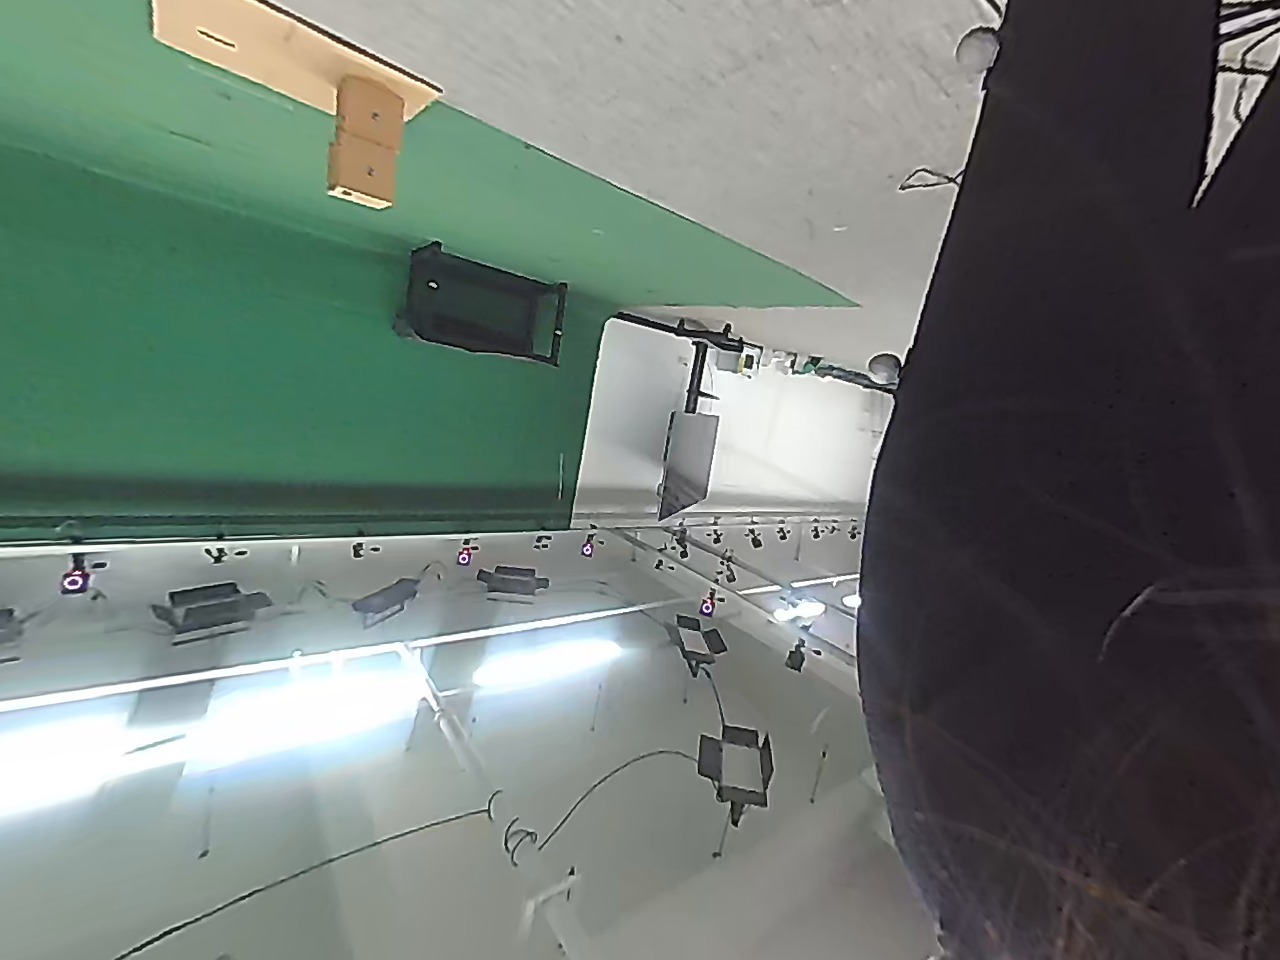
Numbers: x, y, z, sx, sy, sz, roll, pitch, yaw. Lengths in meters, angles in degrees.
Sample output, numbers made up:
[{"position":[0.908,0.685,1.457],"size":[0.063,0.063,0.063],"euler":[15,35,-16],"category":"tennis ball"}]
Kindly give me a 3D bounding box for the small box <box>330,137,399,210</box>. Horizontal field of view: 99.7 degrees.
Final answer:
[{"position":[-0.949,-1.056,1.862],"size":[0.179,0.176,0.168],"euler":[-2,-165,-43],"category":"small box"}]
